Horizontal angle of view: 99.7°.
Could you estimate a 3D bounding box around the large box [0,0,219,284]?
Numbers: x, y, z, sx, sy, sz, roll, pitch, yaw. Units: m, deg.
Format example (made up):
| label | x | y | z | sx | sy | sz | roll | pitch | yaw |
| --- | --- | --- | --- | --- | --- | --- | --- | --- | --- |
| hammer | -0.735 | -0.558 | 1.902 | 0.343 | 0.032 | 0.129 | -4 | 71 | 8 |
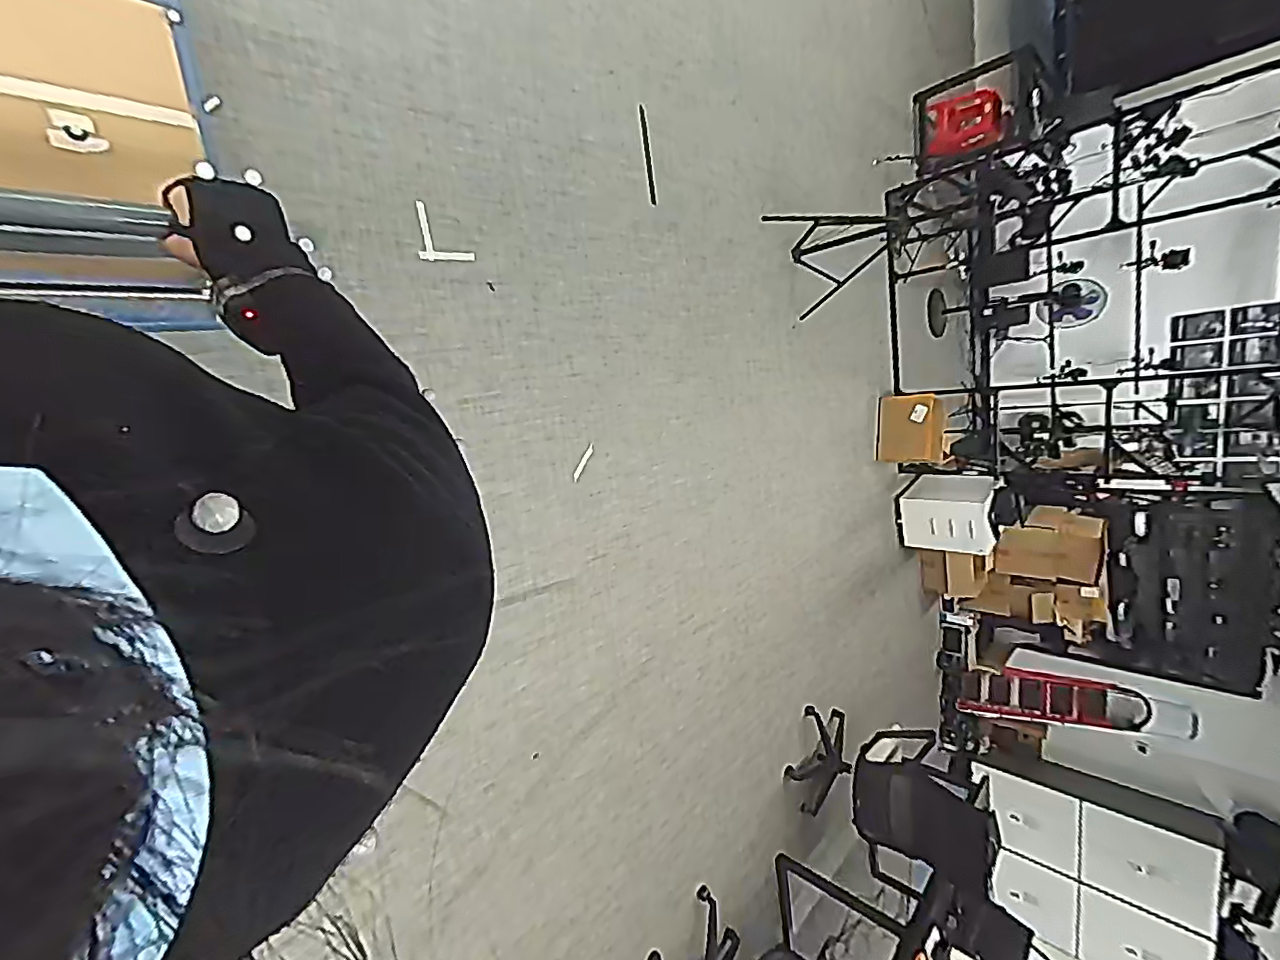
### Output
| label | x | y | z | sx | sy | sz | roll | pitch | yaw |
| --- | --- | --- | --- | --- | --- | --- | --- | --- | --- |
| large box | -0.909 | -0.477 | 0.771 | 0.408 | 0.320 | 0.320 | -17 | 104 | -45 |
